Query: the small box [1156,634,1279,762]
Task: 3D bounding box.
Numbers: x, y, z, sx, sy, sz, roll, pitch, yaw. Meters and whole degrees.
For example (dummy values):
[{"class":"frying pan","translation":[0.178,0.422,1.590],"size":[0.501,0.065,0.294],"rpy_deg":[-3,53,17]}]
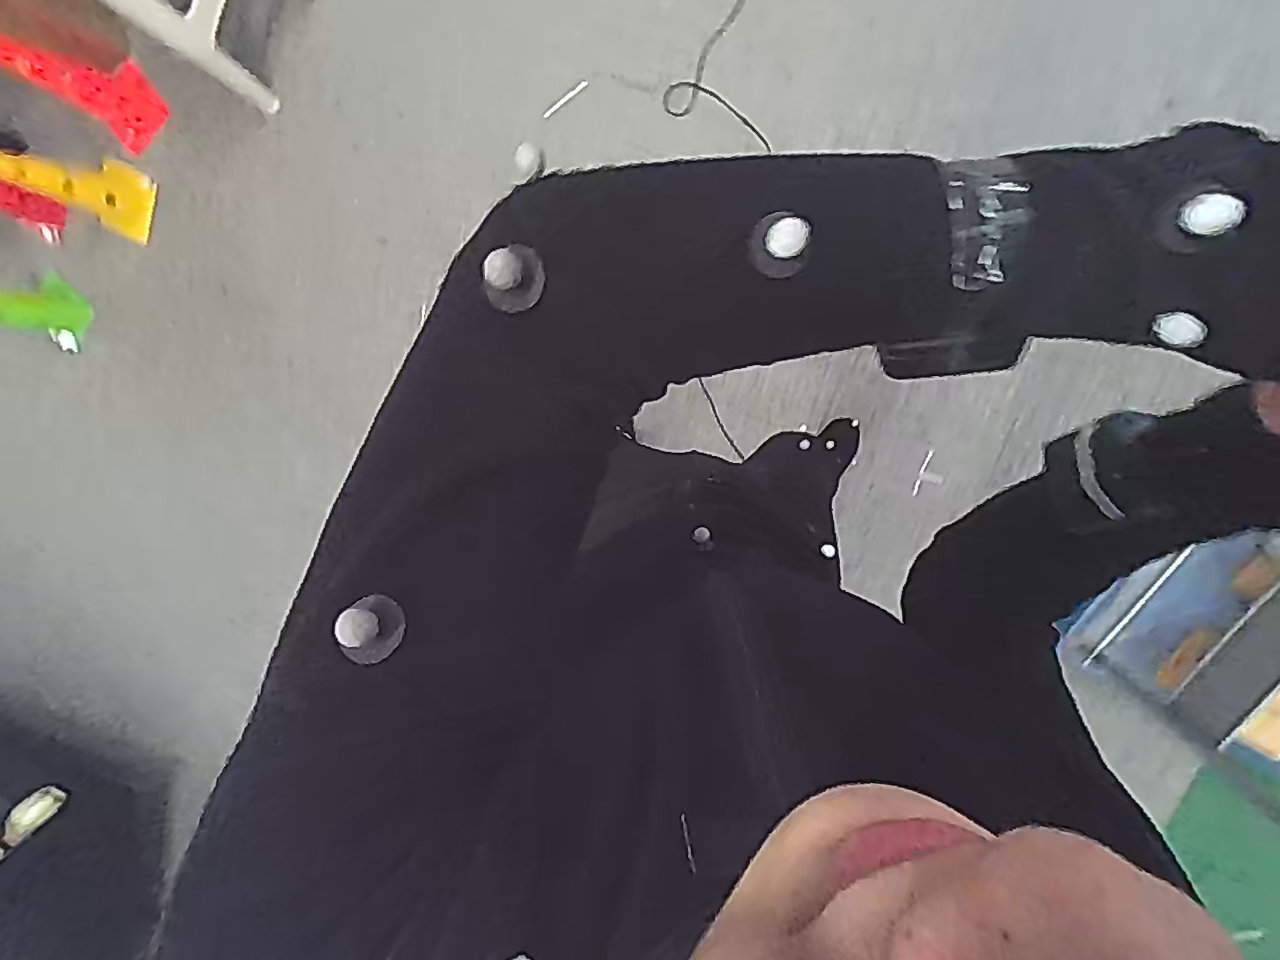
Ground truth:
[{"class":"small box","translation":[1.349,0.479,1.216],"size":[0.179,0.176,0.168],"rpy_deg":[31,105,4]}]
